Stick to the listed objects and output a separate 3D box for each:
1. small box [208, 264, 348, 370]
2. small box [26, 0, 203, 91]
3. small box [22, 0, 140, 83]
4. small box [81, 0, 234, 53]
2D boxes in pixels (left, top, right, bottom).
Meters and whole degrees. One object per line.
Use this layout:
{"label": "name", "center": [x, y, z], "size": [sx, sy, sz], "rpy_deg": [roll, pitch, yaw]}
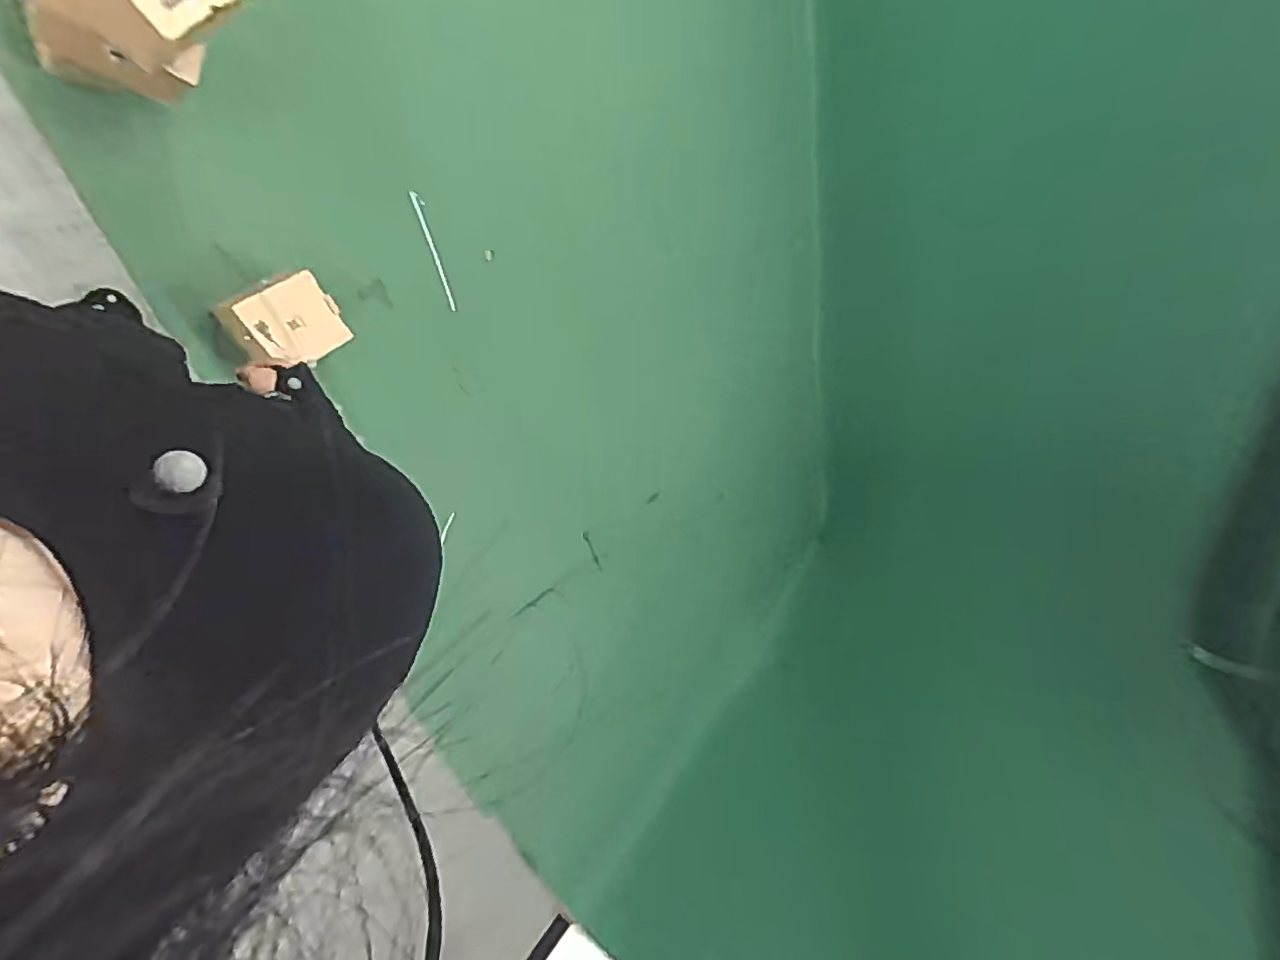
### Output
{"label": "small box", "center": [-0.805, -0.366, 1.204], "size": [0.179, 0.176, 0.168], "rpy_deg": [-48, 135, -31]}
{"label": "small box", "center": [-0.797, -0.740, 0.828], "size": [0.179, 0.176, 0.168], "rpy_deg": [10, 96, -52]}
{"label": "small box", "center": [-0.922, -0.803, 0.916], "size": [0.179, 0.176, 0.168], "rpy_deg": [-20, 118, -46]}
{"label": "small box", "center": [-0.674, -0.713, 0.722], "size": [0.168, 0.176, 0.179], "rpy_deg": [-56, 138, -20]}
